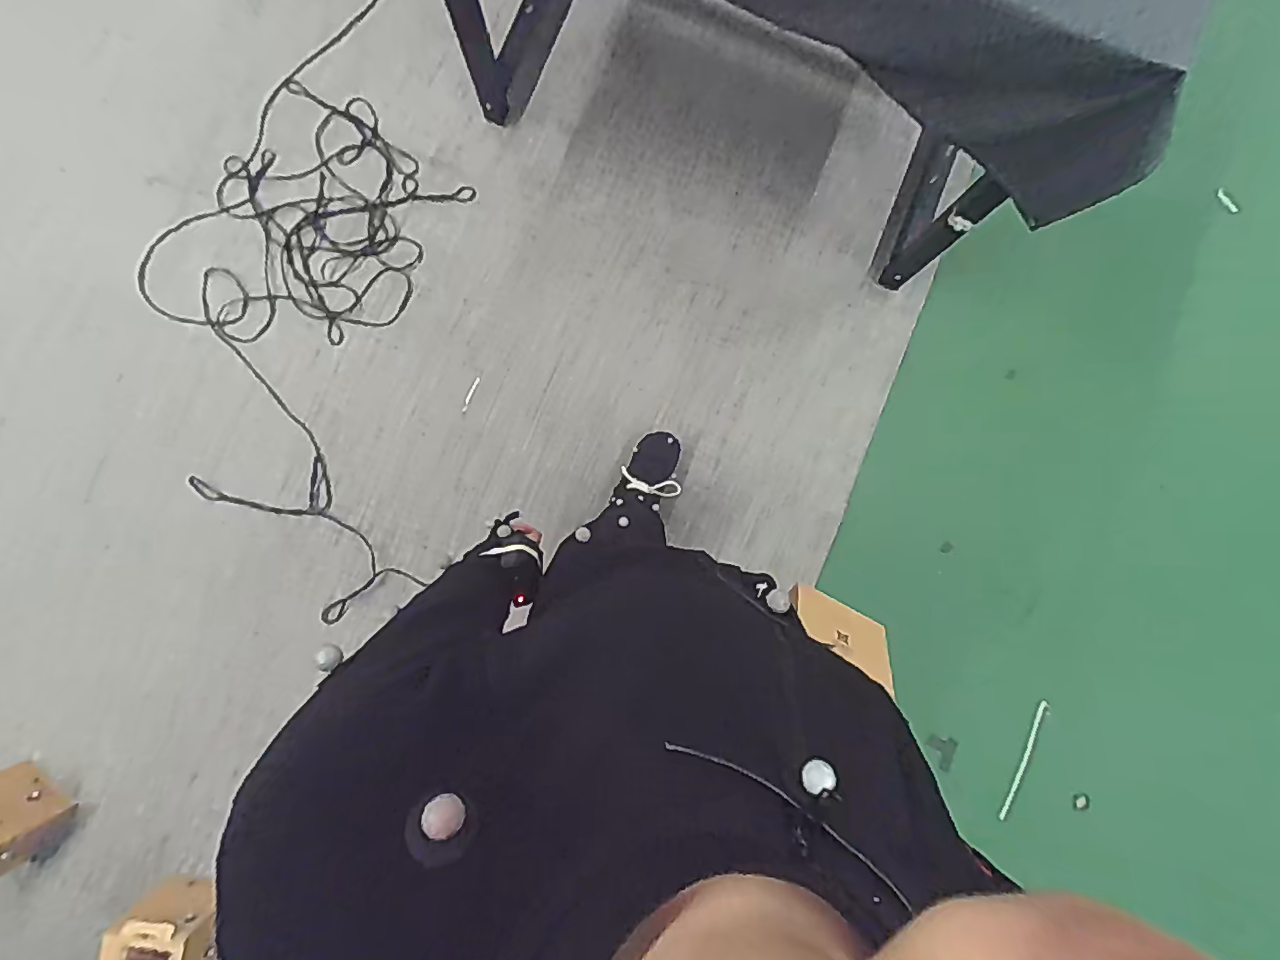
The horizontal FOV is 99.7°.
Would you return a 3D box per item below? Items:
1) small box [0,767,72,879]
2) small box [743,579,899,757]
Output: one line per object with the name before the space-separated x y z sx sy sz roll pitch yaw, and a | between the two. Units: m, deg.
small box | -1.437 0.780 1.185 0.168 0.176 0.179 41 85 1
small box | 0.281 0.301 0.865 0.168 0.179 0.176 29 121 1
